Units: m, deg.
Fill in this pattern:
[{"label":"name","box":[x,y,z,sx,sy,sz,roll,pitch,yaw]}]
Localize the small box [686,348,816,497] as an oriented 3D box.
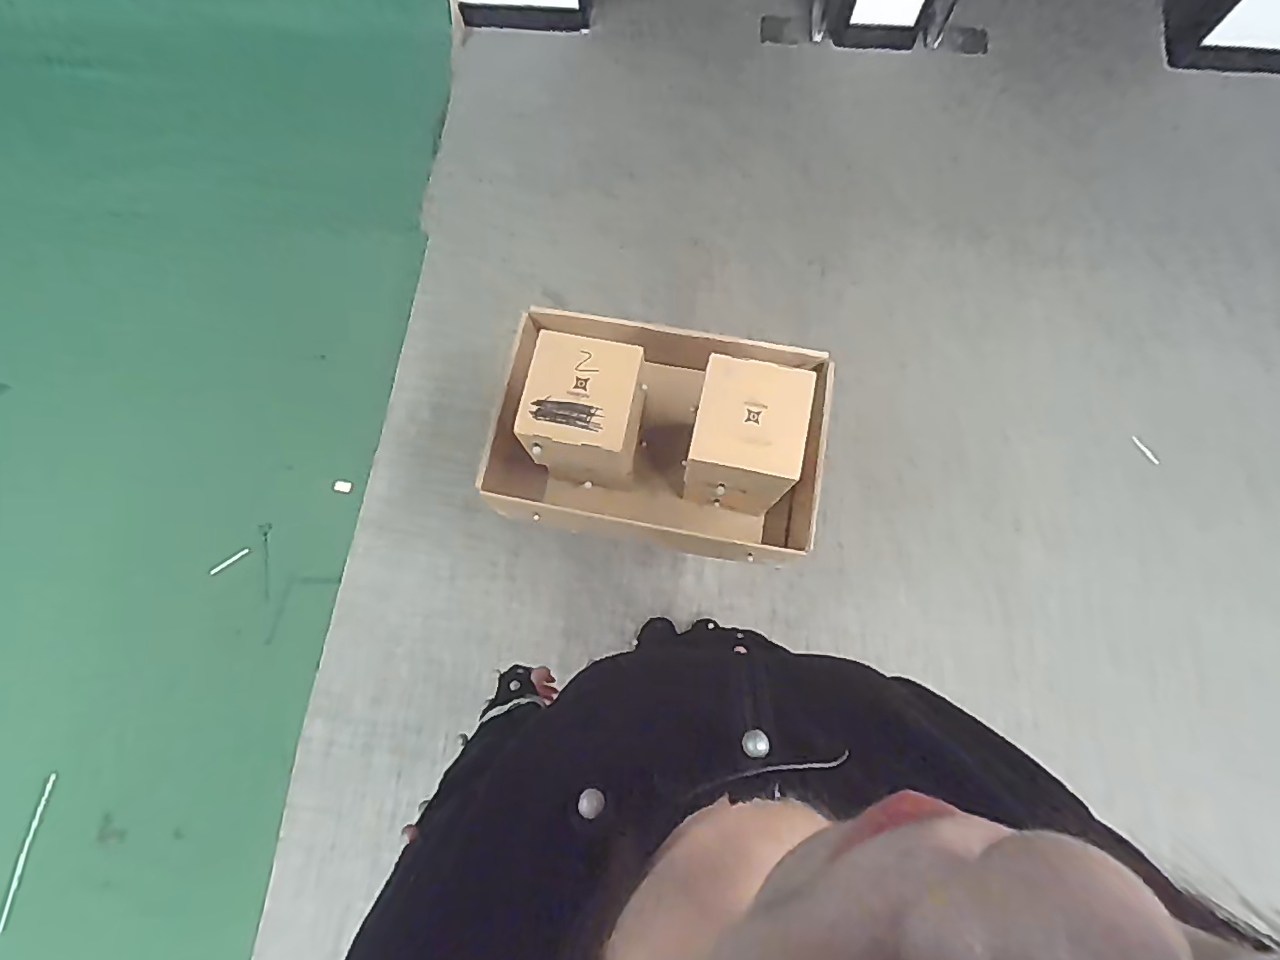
[{"label":"small box","box":[0.171,-0.085,0.878,0.168,0.176,0.179,12,78,6]}]
